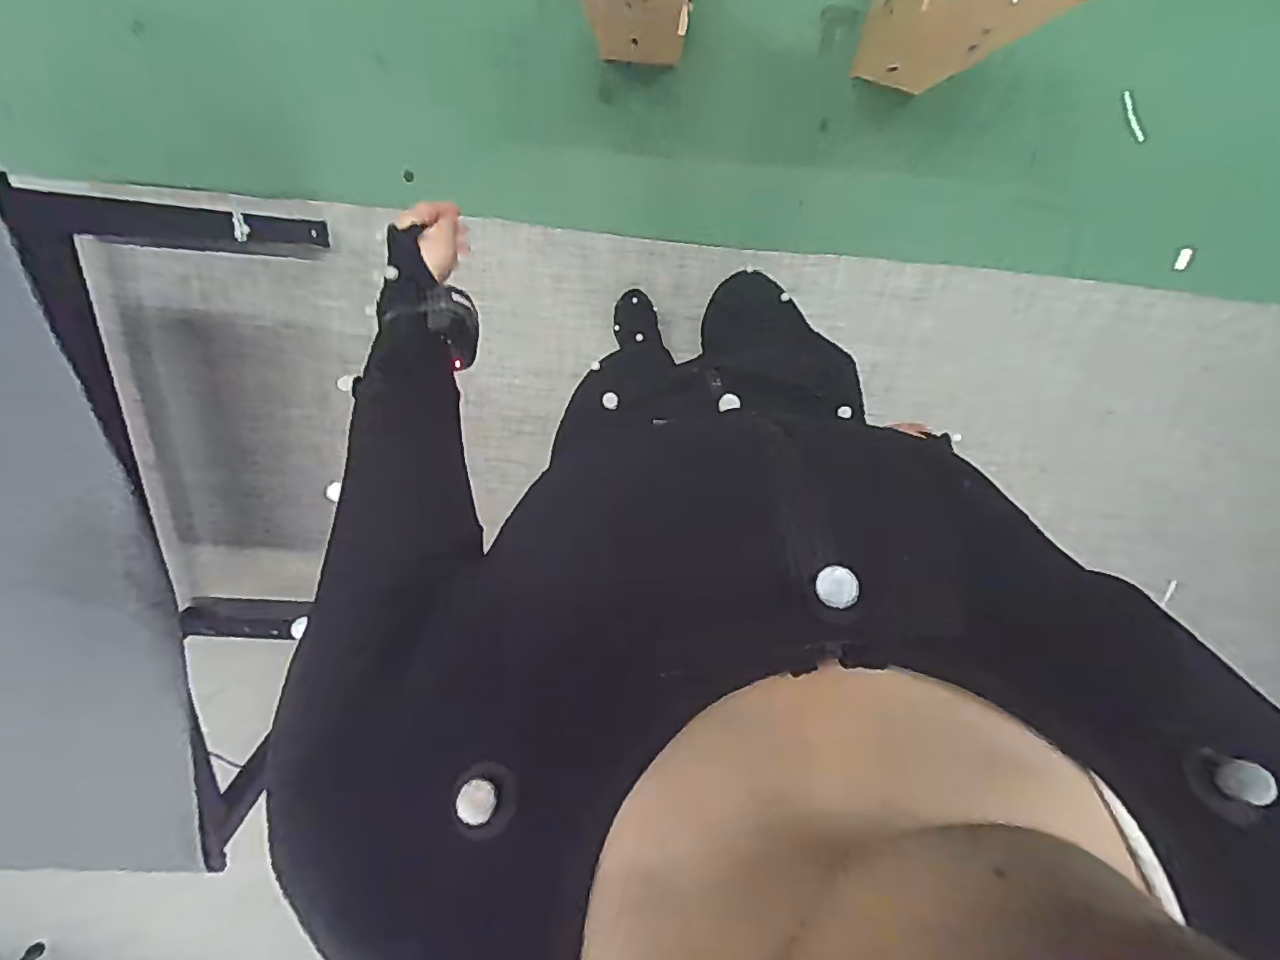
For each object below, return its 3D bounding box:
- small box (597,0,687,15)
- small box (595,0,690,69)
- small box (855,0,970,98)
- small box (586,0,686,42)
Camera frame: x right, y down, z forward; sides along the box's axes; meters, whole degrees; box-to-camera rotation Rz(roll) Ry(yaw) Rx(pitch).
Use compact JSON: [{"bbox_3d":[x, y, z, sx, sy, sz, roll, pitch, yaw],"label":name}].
[{"bbox_3d":[0.001,-0.805,0.767,0.168,0.176,0.179,6,112,-3],"label":"small box"},{"bbox_3d":[0.008,-0.938,1.065,0.179,0.176,0.168,4,113,-3],"label":"small box"},{"bbox_3d":[0.561,-0.908,1.092,0.168,0.176,0.179,11,111,-6],"label":"small box"},{"bbox_3d":[-0.001,-0.878,0.915,0.179,0.176,0.168,6,113,-4],"label":"small box"}]
